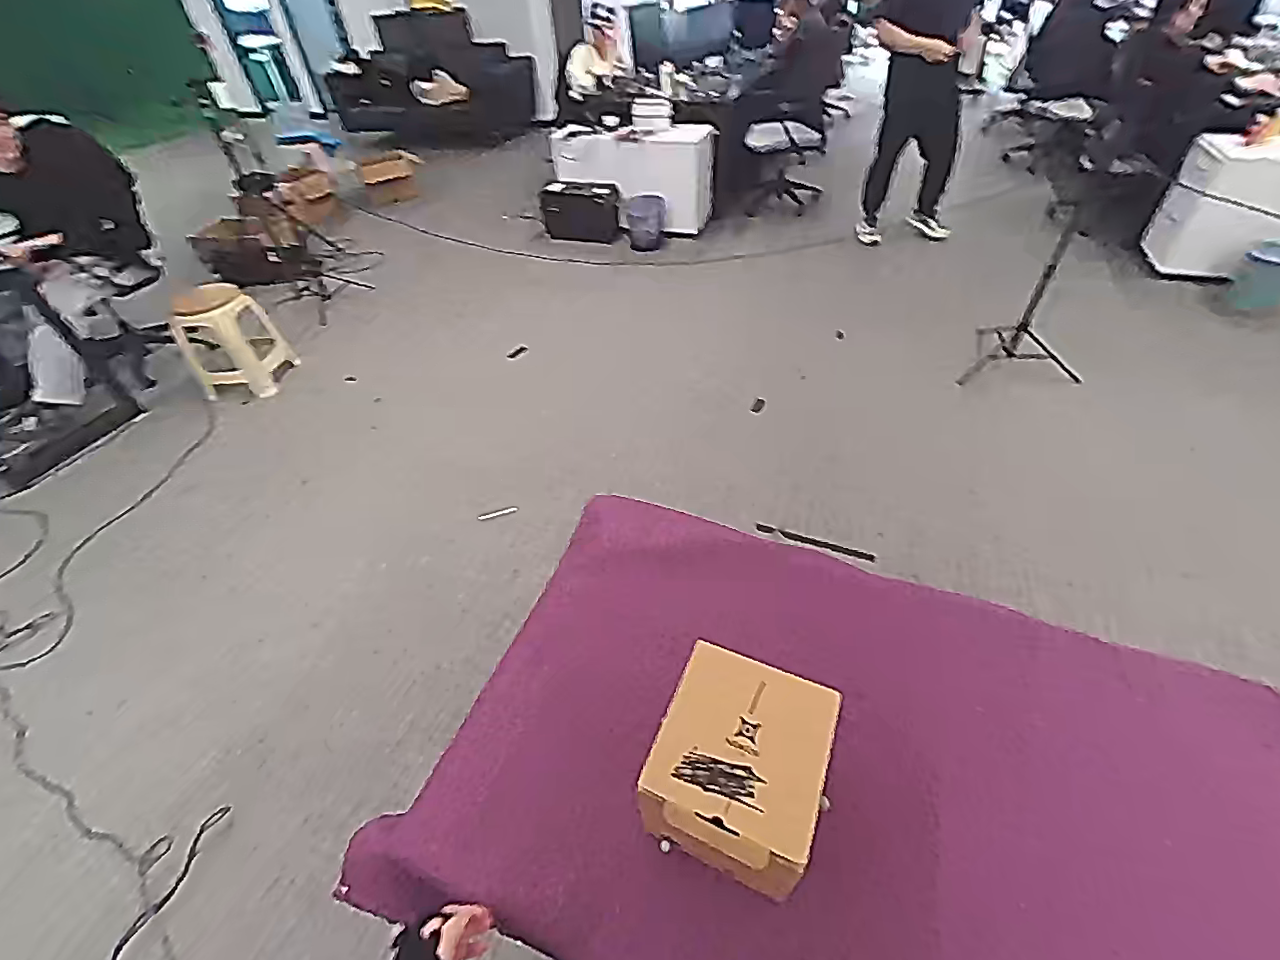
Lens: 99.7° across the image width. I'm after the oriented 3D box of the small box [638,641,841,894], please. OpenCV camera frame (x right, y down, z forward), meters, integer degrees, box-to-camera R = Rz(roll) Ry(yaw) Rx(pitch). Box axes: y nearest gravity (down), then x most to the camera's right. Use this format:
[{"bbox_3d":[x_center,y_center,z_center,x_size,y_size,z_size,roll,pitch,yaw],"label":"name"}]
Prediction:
[{"bbox_3d":[0.112,0.323,0.611,0.168,0.176,0.179,16,47,20],"label":"small box"}]
